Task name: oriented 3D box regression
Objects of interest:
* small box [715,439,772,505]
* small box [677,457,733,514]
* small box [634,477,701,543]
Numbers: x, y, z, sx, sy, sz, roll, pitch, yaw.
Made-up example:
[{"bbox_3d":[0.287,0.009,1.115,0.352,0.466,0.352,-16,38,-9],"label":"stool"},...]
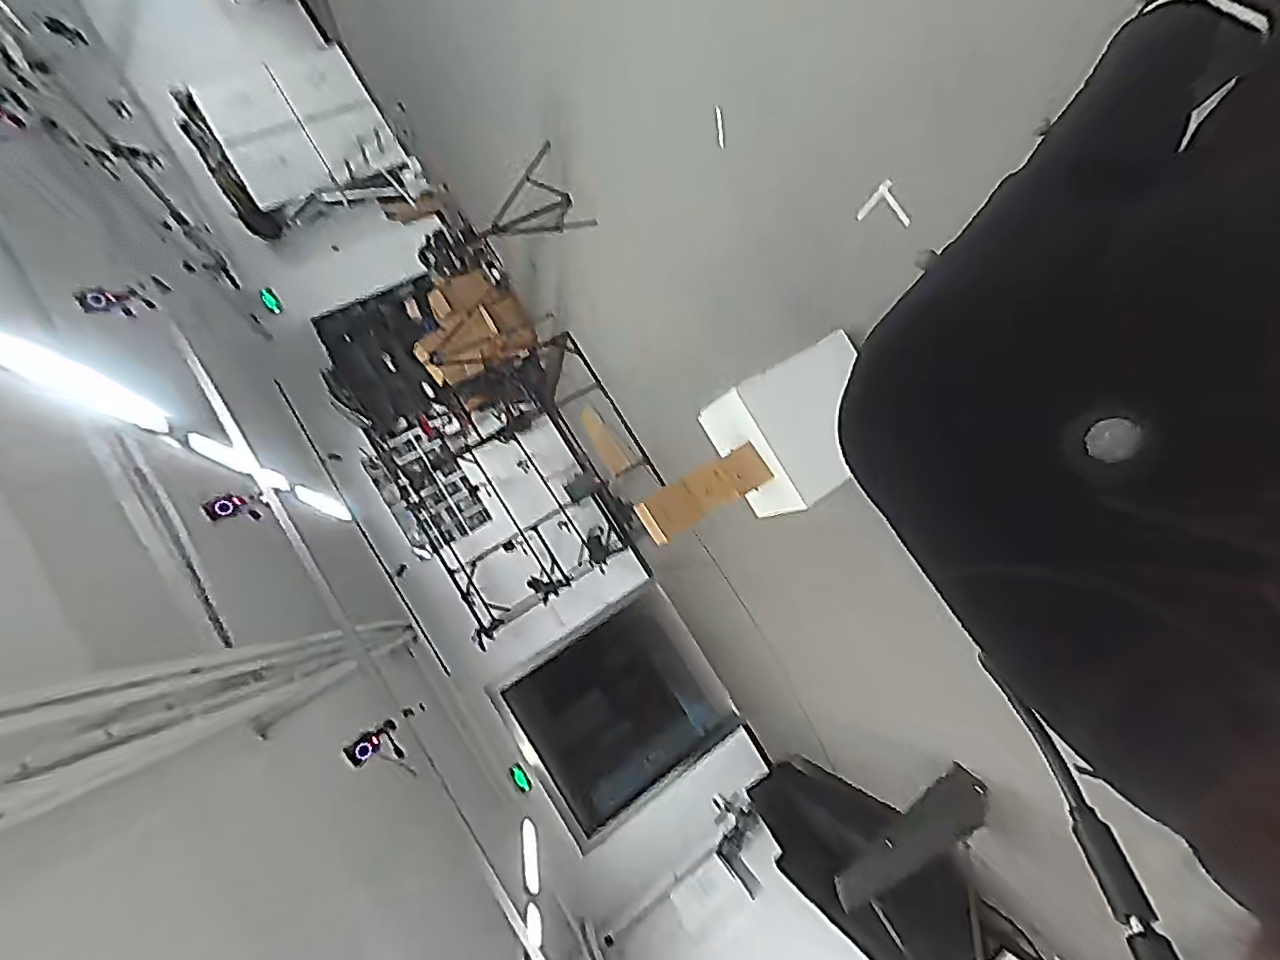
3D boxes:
[{"bbox_3d":[0.385,-0.031,2.118,0.179,0.176,0.168,57,163,7],"label":"small box"},{"bbox_3d":[0.235,0.031,2.088,0.168,0.176,0.179,57,164,6],"label":"small box"},{"bbox_3d":[0.104,0.113,2.029,0.179,0.176,0.168,58,163,3],"label":"small box"}]
